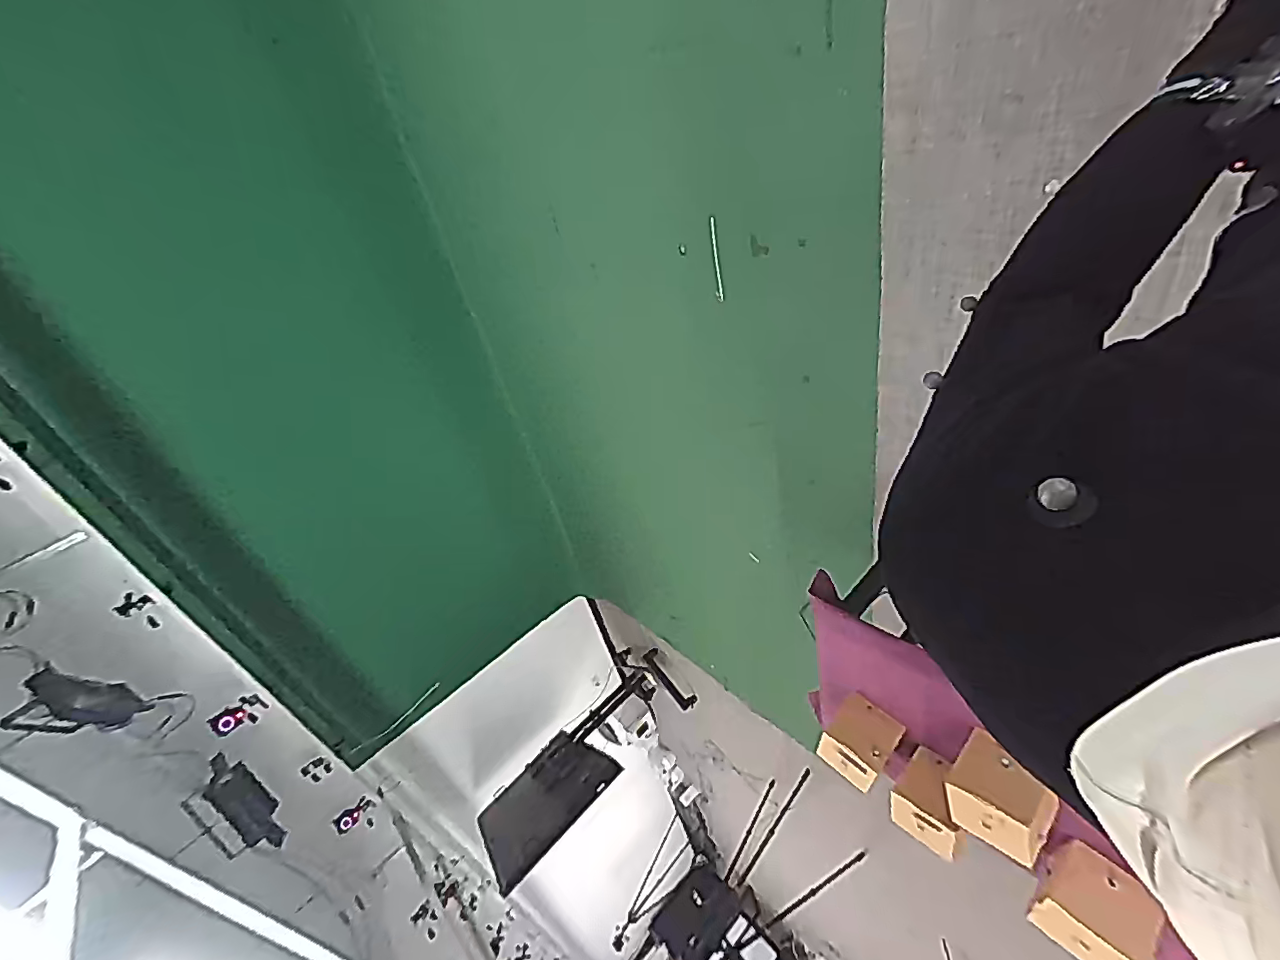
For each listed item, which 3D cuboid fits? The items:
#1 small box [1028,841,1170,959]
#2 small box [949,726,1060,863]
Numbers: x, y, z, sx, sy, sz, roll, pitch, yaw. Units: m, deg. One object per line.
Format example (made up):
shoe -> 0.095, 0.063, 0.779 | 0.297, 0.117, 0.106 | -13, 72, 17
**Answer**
small box -> 1.032, 0.959, 1.222 | 0.179, 0.176, 0.168 | 31, 145, 38
small box -> 0.839, 0.714, 1.241 | 0.168, 0.176, 0.179 | 15, 135, 50
